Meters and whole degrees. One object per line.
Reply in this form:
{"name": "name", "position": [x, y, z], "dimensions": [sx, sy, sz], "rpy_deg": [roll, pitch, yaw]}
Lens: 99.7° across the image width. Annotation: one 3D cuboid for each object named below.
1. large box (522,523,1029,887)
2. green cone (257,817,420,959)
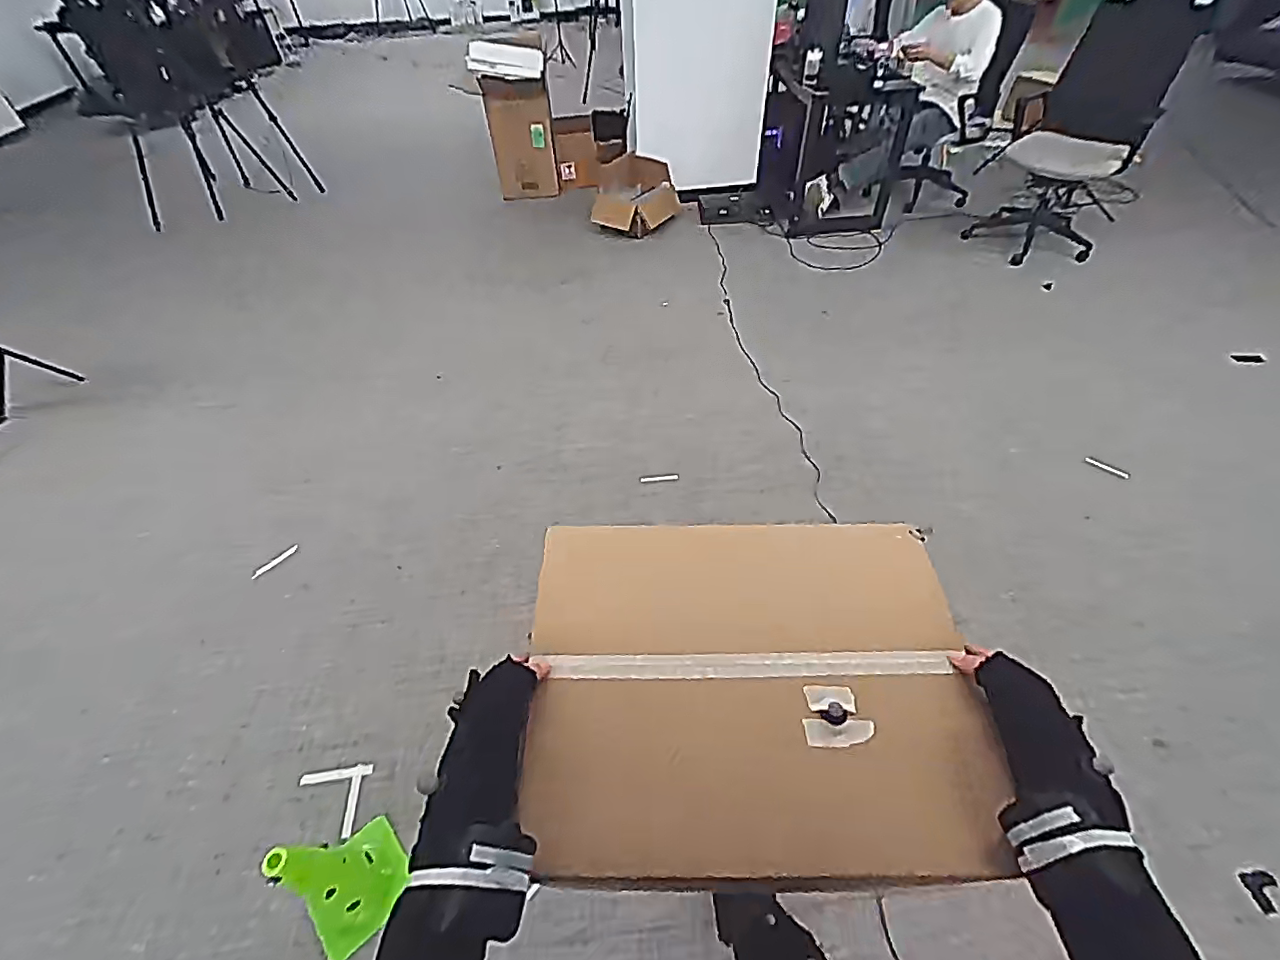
{"name": "large box", "position": [0.102, 0.264, 0.624], "dimensions": [0.408, 0.320, 0.320], "rpy_deg": [0, 51, 0]}
{"name": "green cone", "position": [-0.622, 0.778, 1.063], "dimensions": [0.202, 0.368, 0.200], "rpy_deg": [-37, 55, -25]}
